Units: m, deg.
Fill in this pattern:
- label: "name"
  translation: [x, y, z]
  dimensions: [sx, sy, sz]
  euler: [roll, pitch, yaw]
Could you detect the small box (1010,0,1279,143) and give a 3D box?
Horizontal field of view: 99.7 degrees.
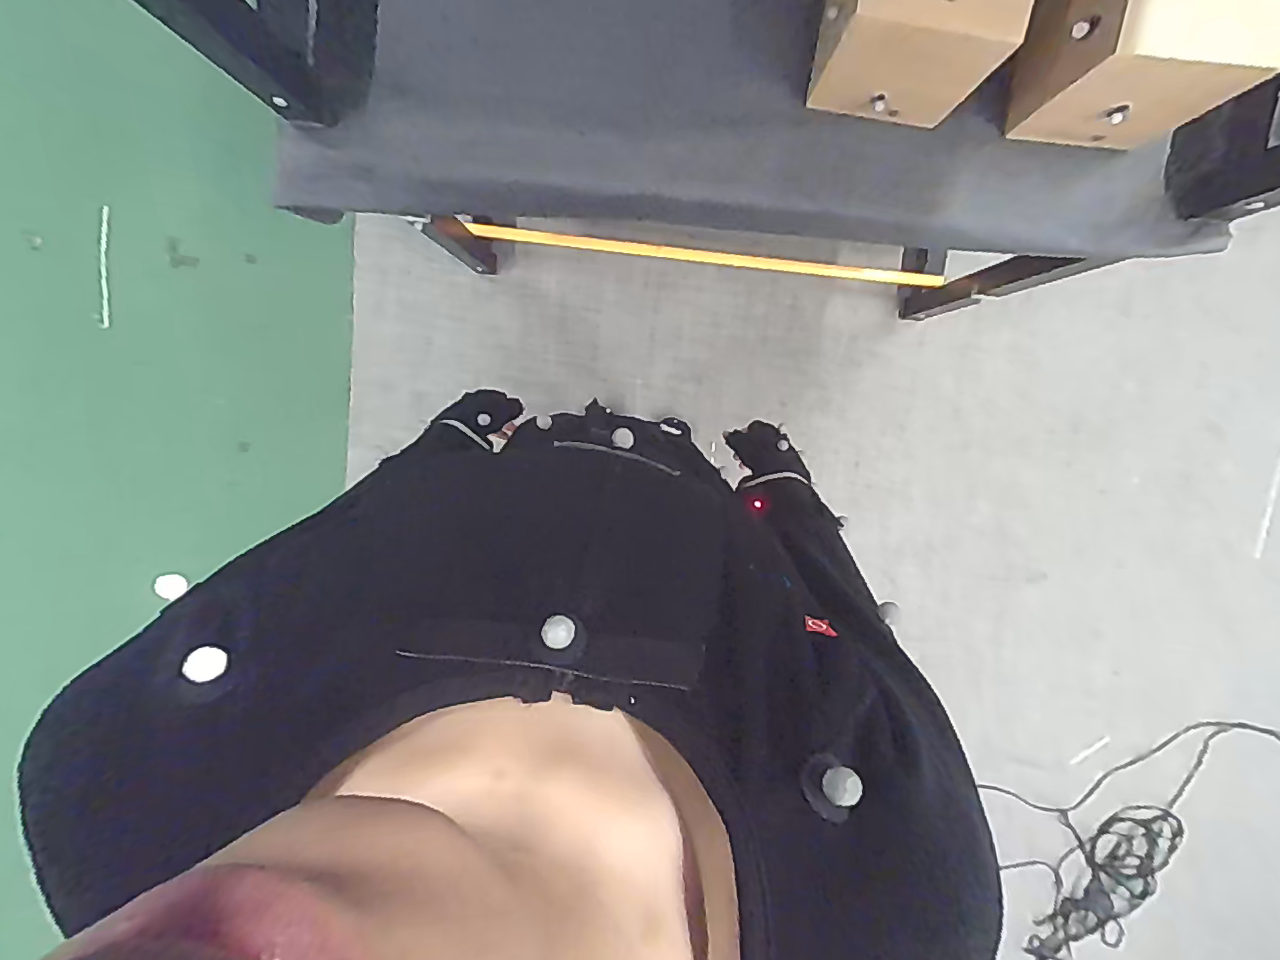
- label: "small box"
  translation: [0.543, -0.498, 0.586]
  dimensions: [0.168, 0.176, 0.179]
  euler: [6, 97, 0]
